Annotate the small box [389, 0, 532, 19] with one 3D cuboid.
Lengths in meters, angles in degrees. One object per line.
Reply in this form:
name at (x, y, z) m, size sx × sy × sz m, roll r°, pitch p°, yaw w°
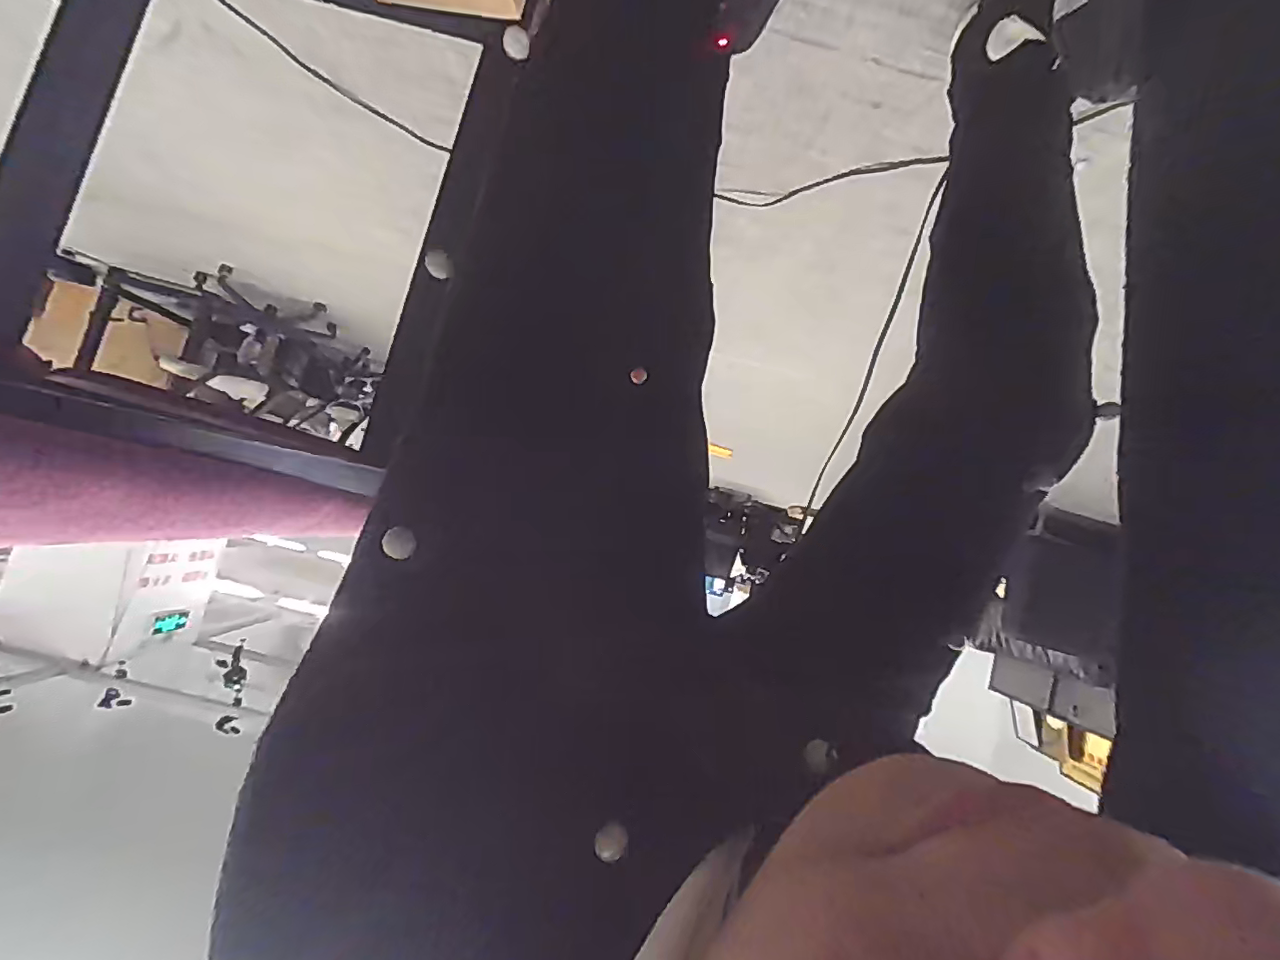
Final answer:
small box at (-0.190, -0.593, 0.507) m, size 0.179 × 0.176 × 0.168 m, roll 14°, pitch 174°, yaw 7°
